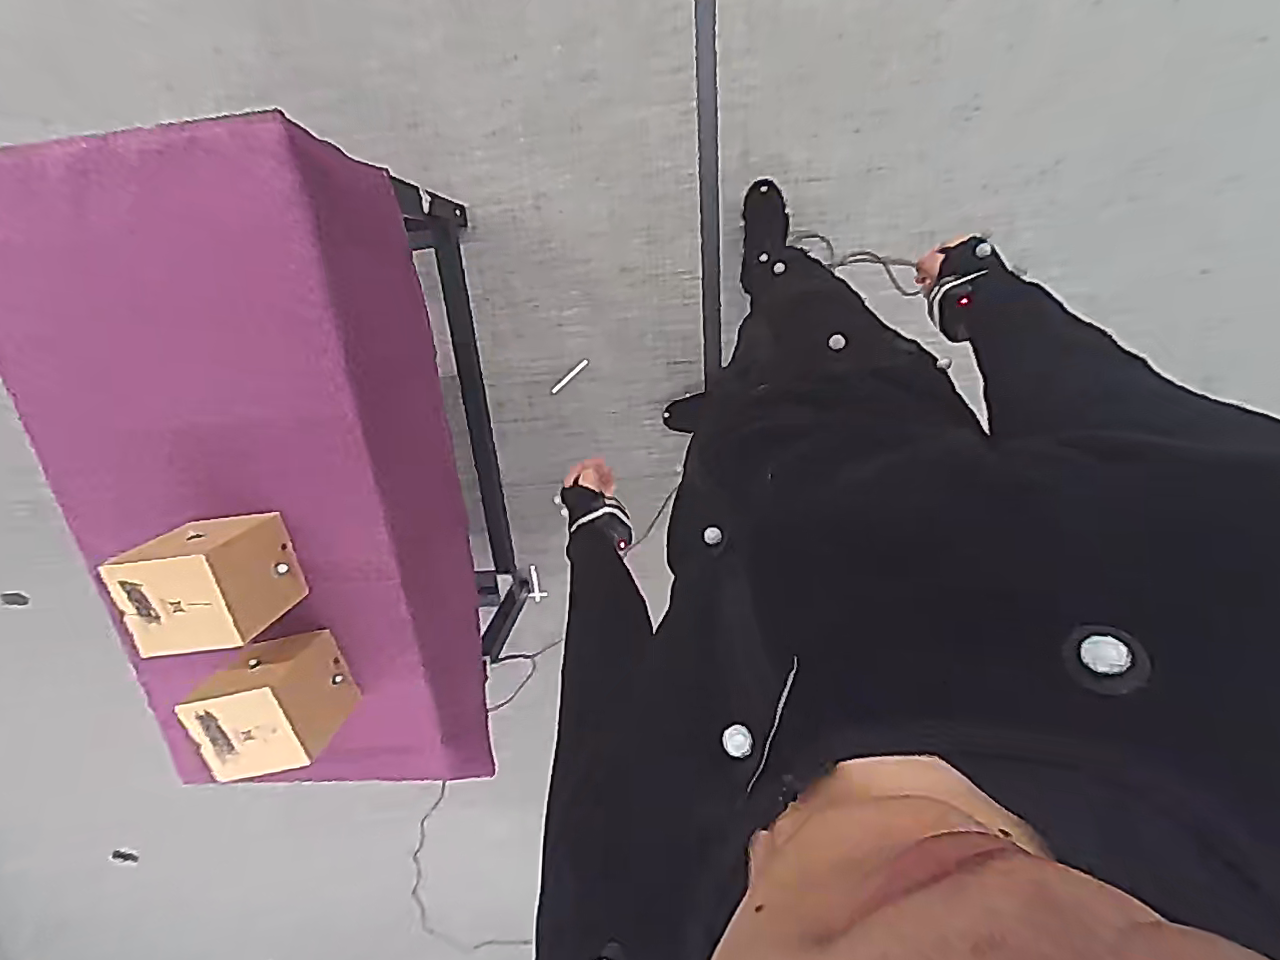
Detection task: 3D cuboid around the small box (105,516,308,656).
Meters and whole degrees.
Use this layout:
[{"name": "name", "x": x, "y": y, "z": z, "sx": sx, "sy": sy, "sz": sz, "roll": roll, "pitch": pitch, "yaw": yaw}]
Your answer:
[{"name": "small box", "x": -0.709, "y": 0.171, "z": 0.908, "sx": 0.179, "sy": 0.176, "sz": 0.168, "roll": -7, "pitch": 108, "yaw": 5}]
